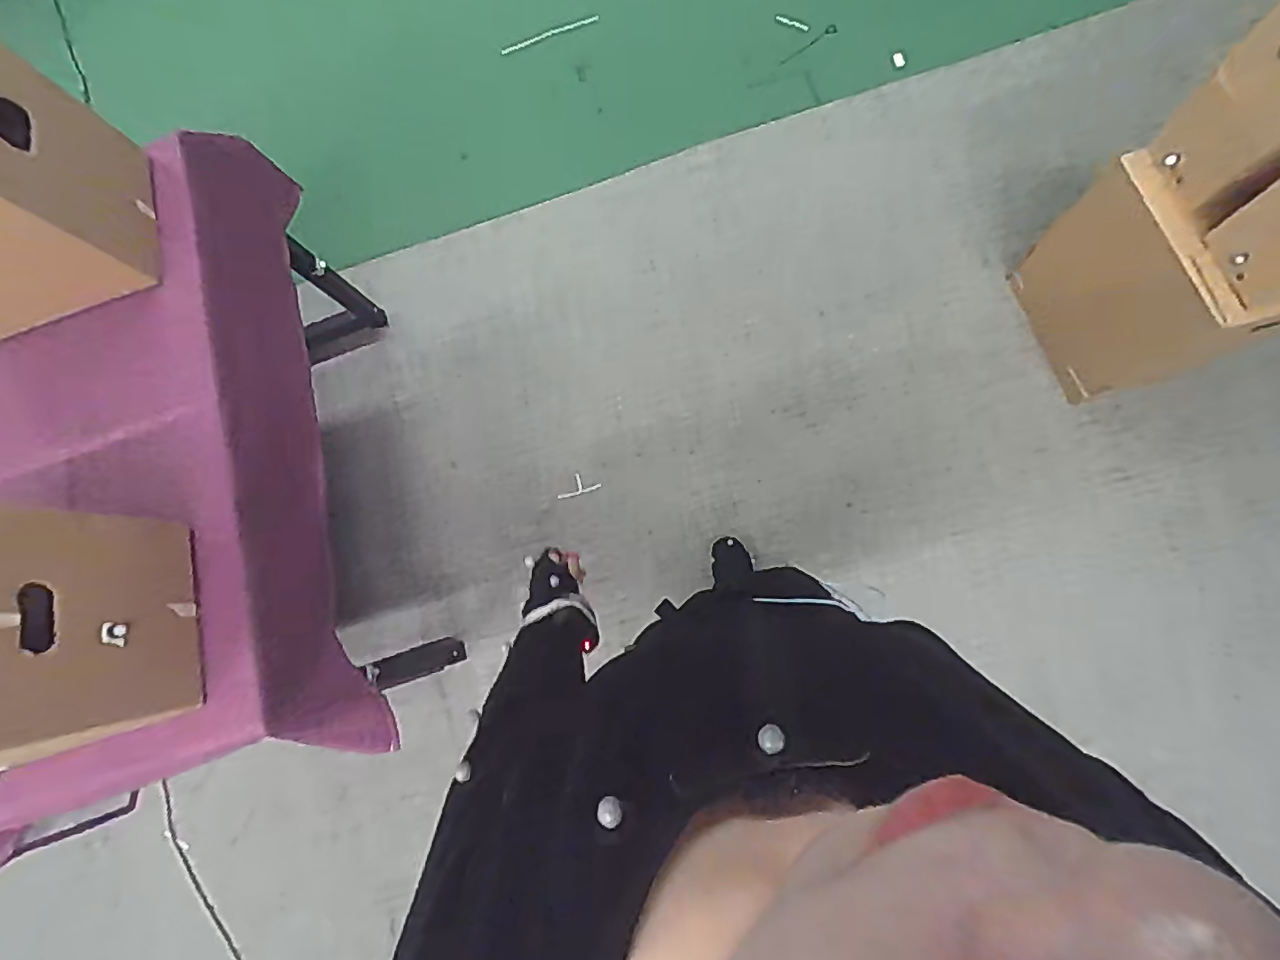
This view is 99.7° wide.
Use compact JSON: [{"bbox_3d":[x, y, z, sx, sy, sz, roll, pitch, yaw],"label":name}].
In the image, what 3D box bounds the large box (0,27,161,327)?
[{"bbox_3d":[-1.164,-0.510,0.938,0.408,0.320,0.320,-16,78,4],"label":"large box"}]
